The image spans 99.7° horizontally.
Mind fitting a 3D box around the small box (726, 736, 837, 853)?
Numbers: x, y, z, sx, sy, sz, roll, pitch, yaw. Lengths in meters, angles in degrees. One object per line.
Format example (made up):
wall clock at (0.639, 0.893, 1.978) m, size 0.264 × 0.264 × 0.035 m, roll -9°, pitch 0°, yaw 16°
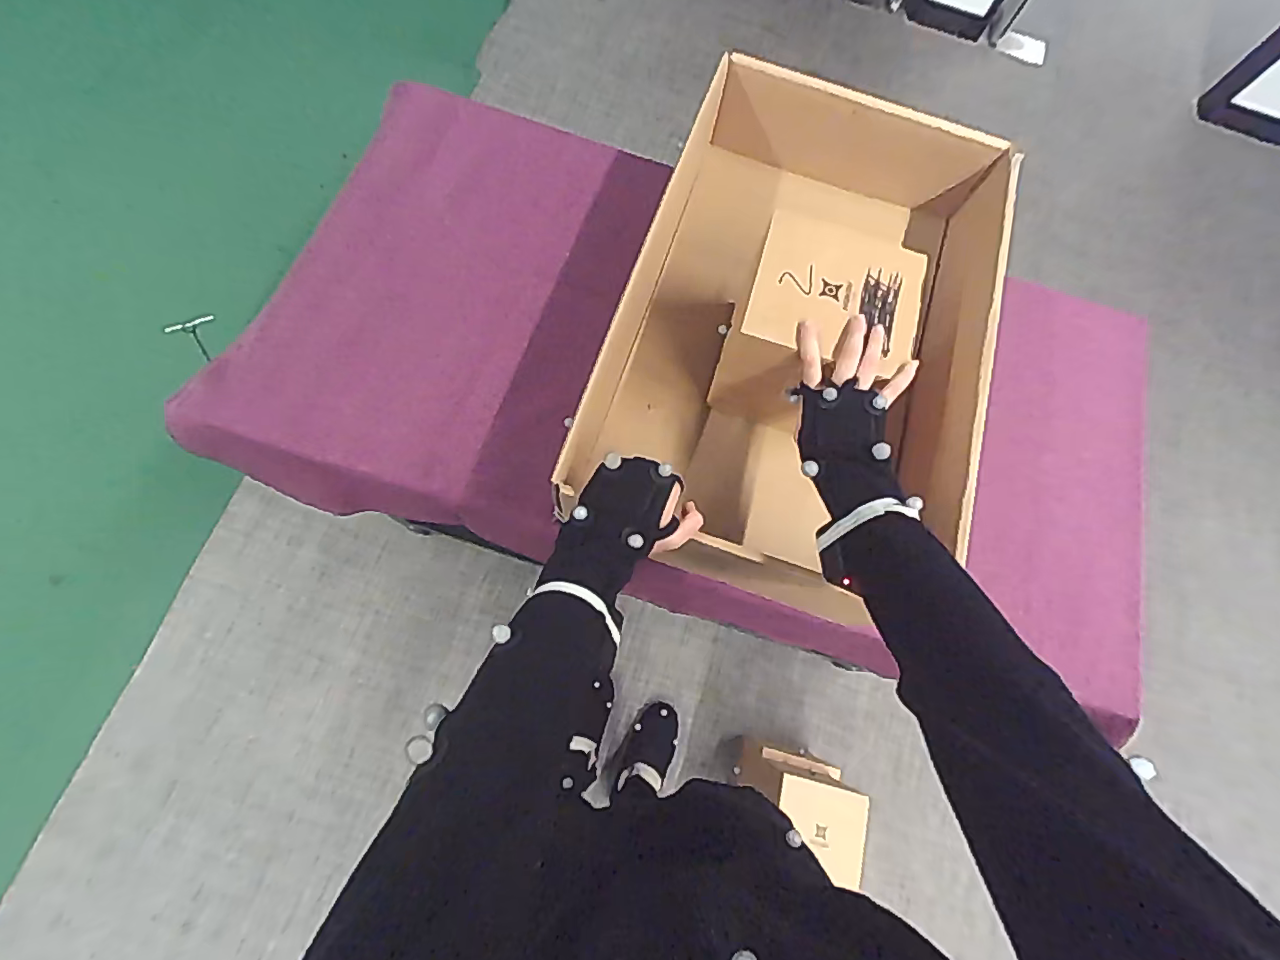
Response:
small box at (0.309, 0.689, 1.206) m, size 0.179 × 0.176 × 0.168 m, roll 17°, pitch 73°, yaw 0°
